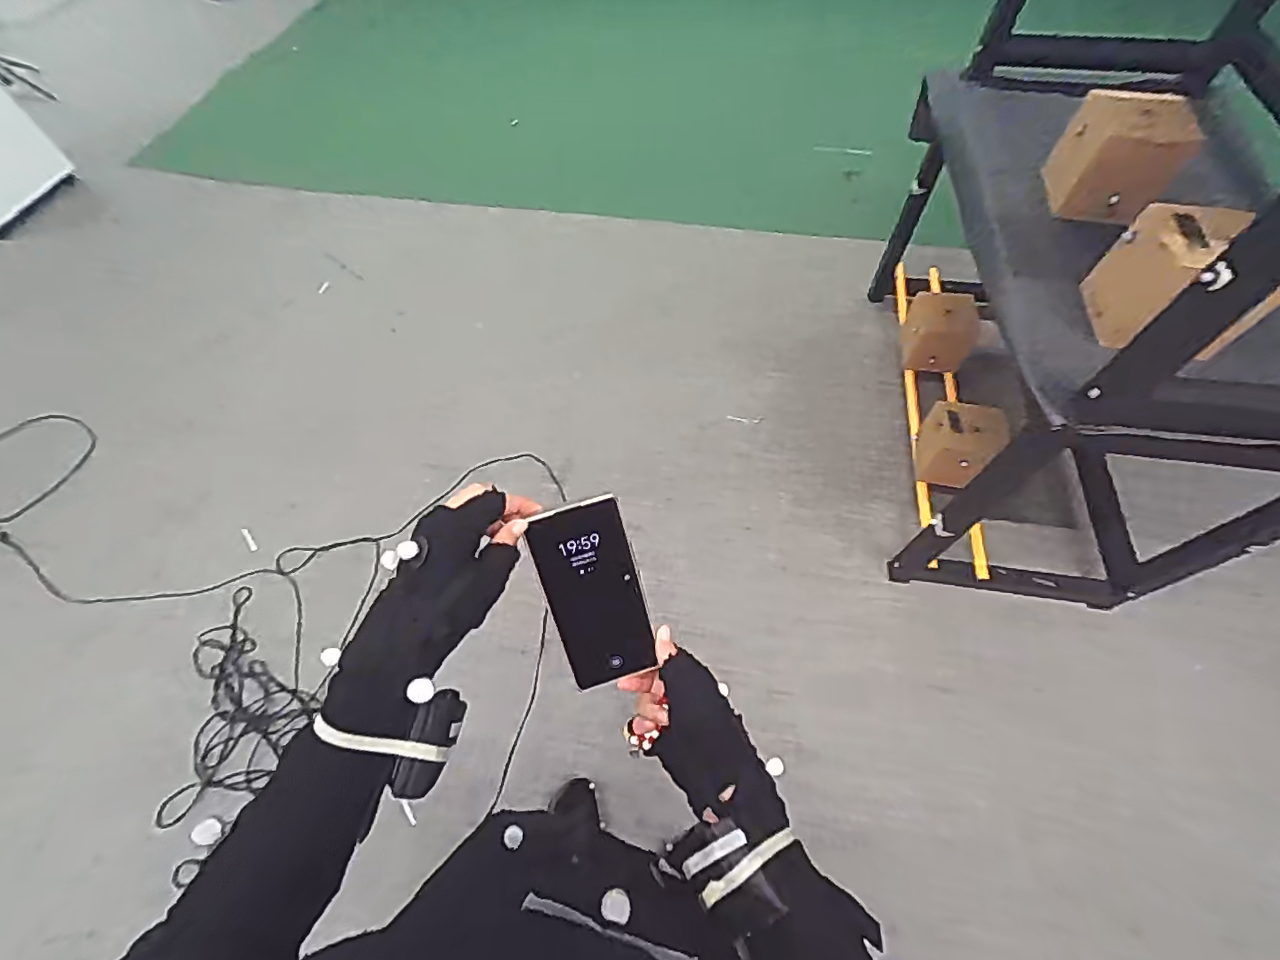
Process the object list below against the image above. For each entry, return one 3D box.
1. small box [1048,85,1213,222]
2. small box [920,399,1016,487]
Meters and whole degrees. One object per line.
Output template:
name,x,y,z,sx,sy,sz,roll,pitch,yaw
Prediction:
small box,0.960,-0.651,1.083,0.168,0.176,0.179,10,60,8
small box,0.884,-0.097,1.481,0.179,0.176,0.168,10,61,8
